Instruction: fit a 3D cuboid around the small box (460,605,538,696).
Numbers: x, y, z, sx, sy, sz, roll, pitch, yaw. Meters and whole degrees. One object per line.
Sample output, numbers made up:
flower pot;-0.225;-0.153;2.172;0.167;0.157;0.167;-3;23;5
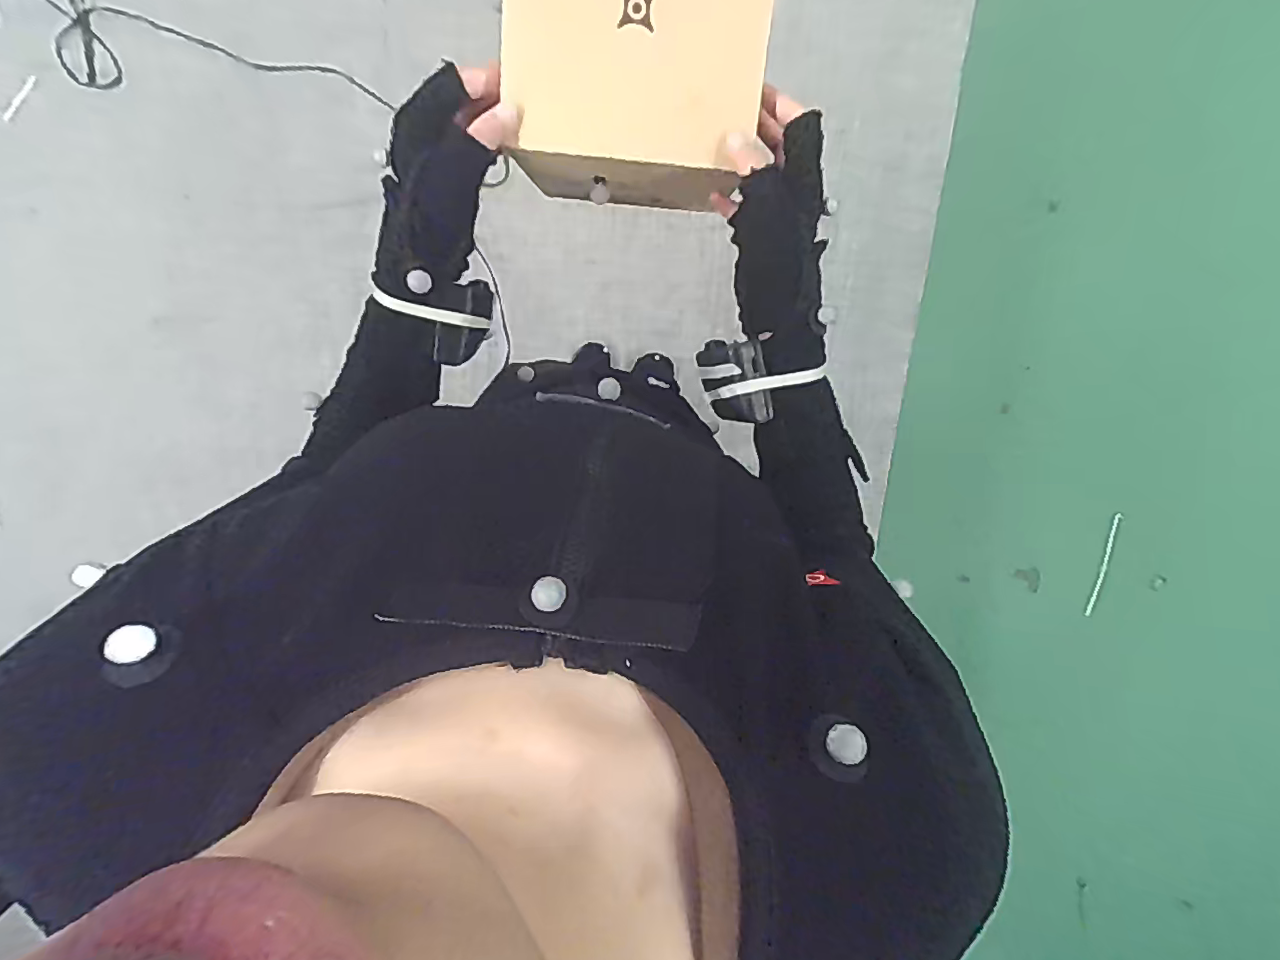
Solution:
small box;-0.365;0.440;1.415;0.168;0.176;0.179;2;103;-1
